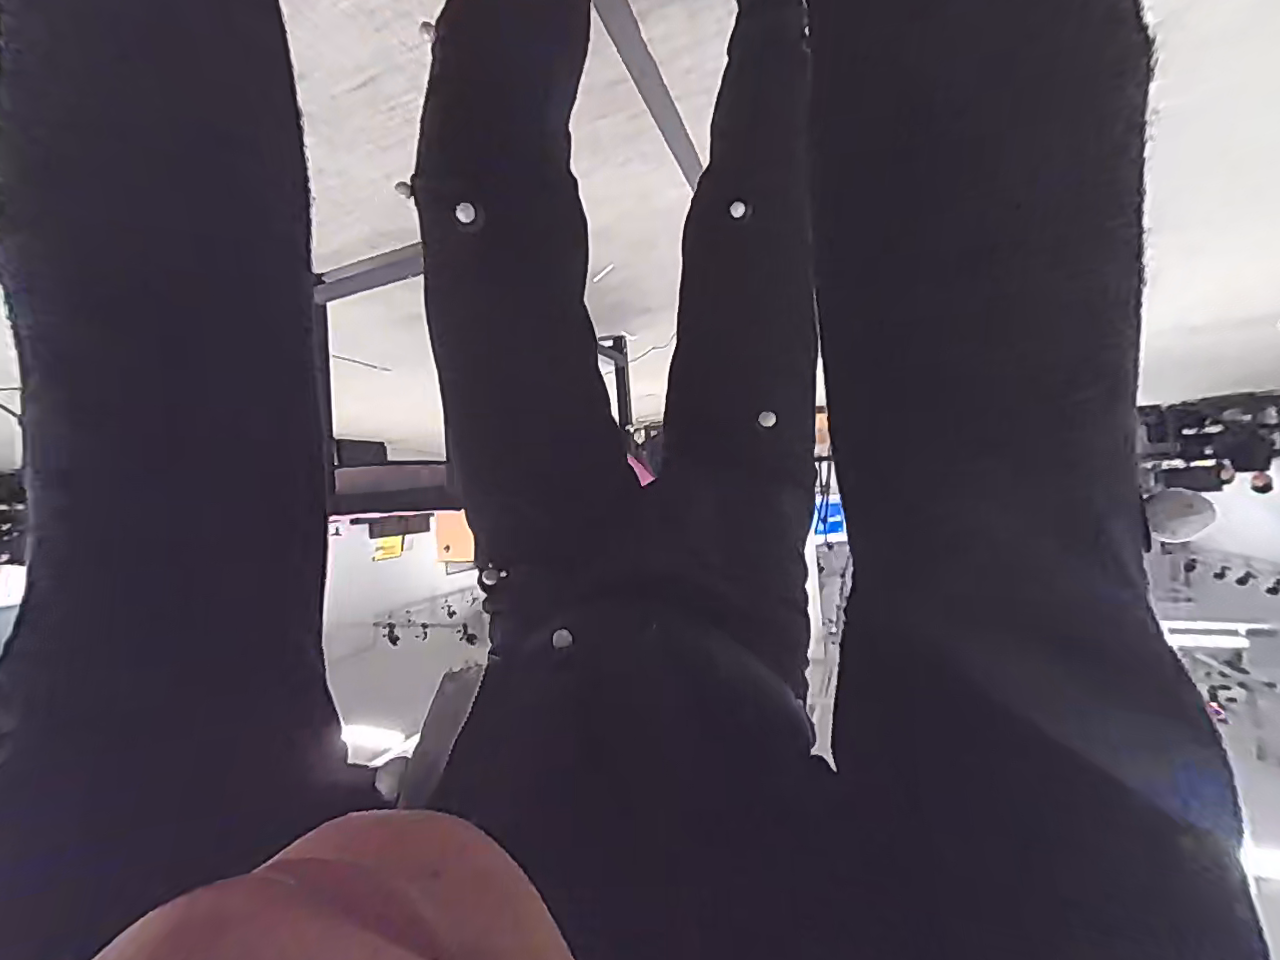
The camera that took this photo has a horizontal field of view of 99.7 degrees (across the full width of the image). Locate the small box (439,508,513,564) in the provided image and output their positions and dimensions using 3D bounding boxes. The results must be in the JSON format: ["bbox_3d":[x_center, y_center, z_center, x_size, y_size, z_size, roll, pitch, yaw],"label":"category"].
[{"bbox_3d":[-0.533,0.179,1.756,0.179,0.176,0.168,-5,178,23],"label":"small box"}]
